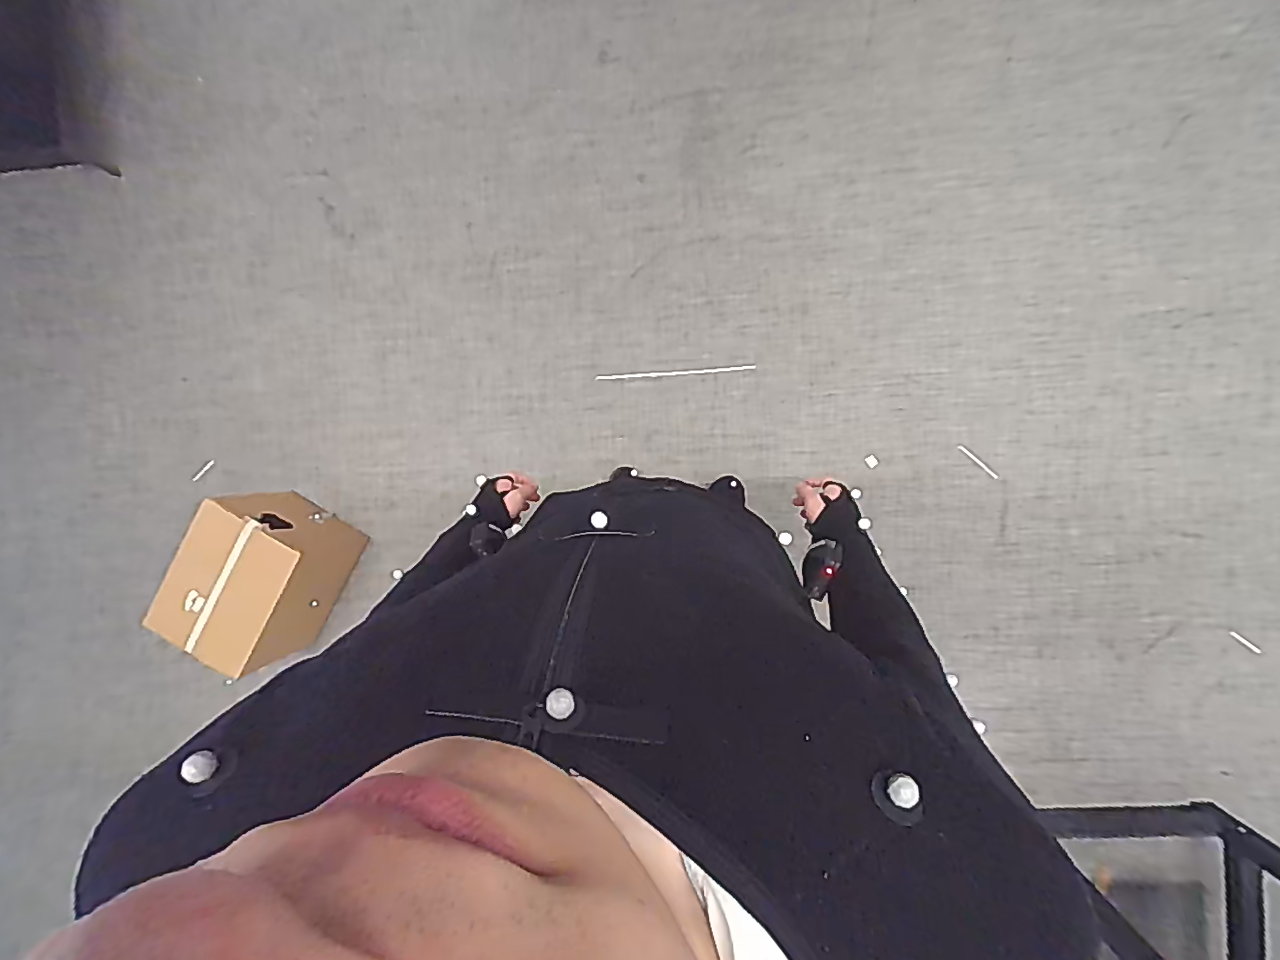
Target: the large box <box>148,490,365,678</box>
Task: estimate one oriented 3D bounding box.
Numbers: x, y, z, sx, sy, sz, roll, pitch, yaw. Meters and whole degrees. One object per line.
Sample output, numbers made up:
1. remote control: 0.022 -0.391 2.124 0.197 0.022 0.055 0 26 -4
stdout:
1. large box: -1.101 0.280 1.590 0.320 0.320 0.408 29 95 4
